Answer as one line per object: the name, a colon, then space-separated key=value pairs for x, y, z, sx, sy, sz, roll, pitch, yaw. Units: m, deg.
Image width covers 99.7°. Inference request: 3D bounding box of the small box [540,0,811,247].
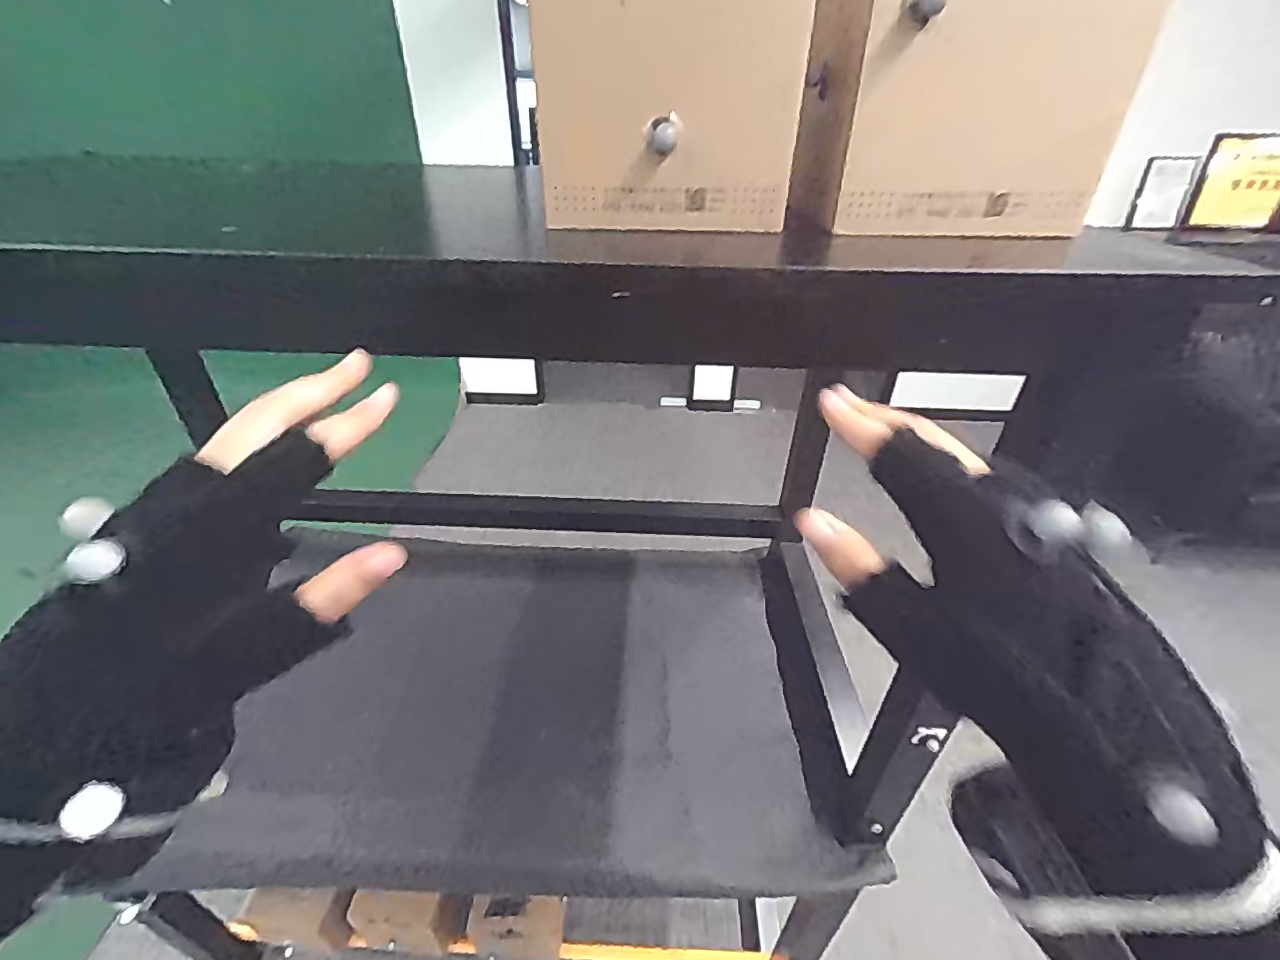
small box: x=0.020 y=-0.286 z=0.414 sx=0.168 sy=0.176 sz=0.179 roll=1 pitch=34 yaw=1
